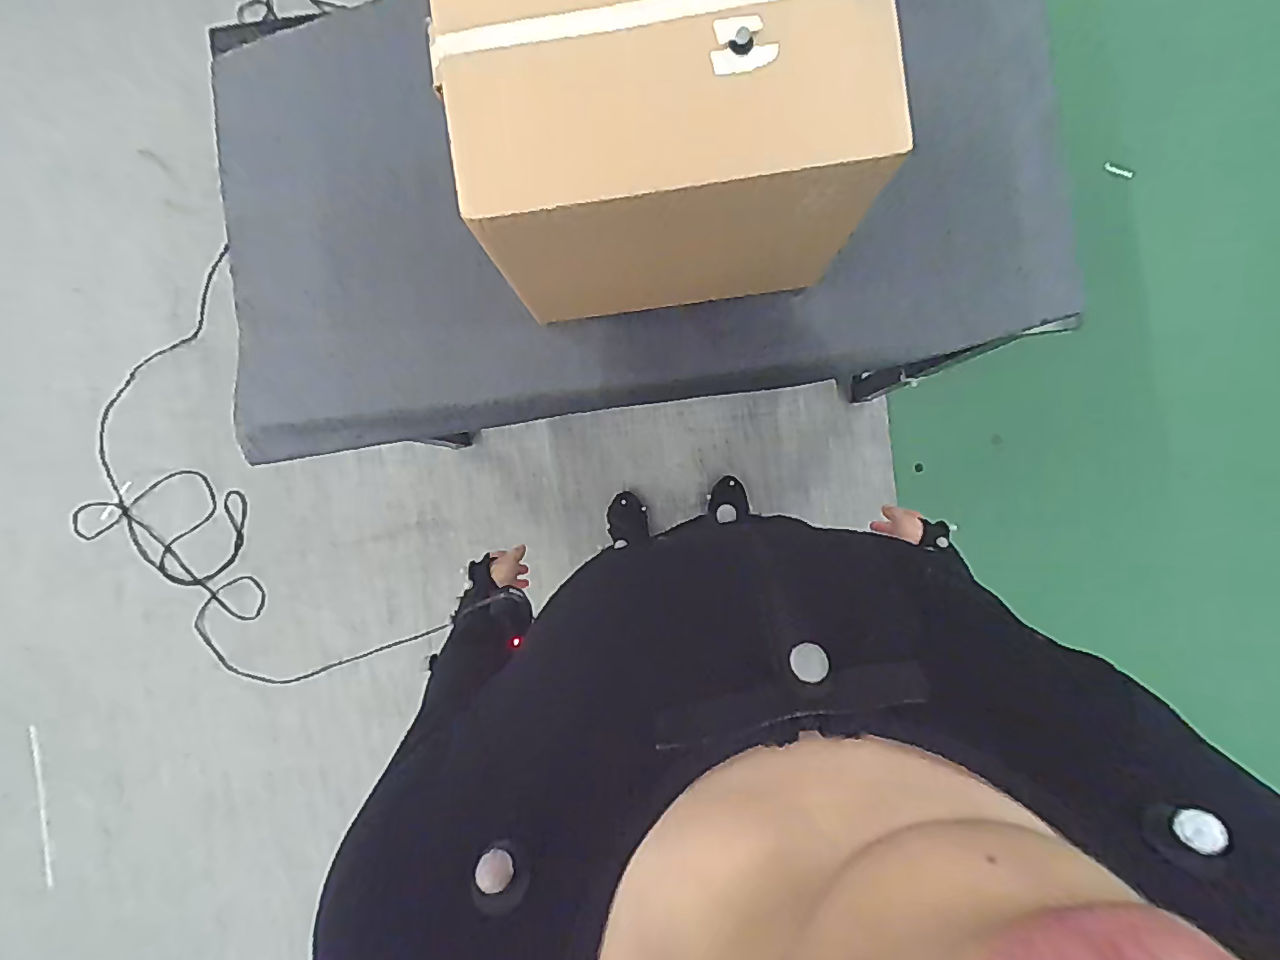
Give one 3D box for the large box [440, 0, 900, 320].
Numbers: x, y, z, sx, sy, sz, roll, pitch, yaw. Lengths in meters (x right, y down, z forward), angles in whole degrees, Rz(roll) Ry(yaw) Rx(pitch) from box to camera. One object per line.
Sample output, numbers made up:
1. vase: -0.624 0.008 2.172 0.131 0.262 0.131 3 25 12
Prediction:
1. large box: 0.021 -0.415 0.645 0.408 0.320 0.320 -8 89 1
